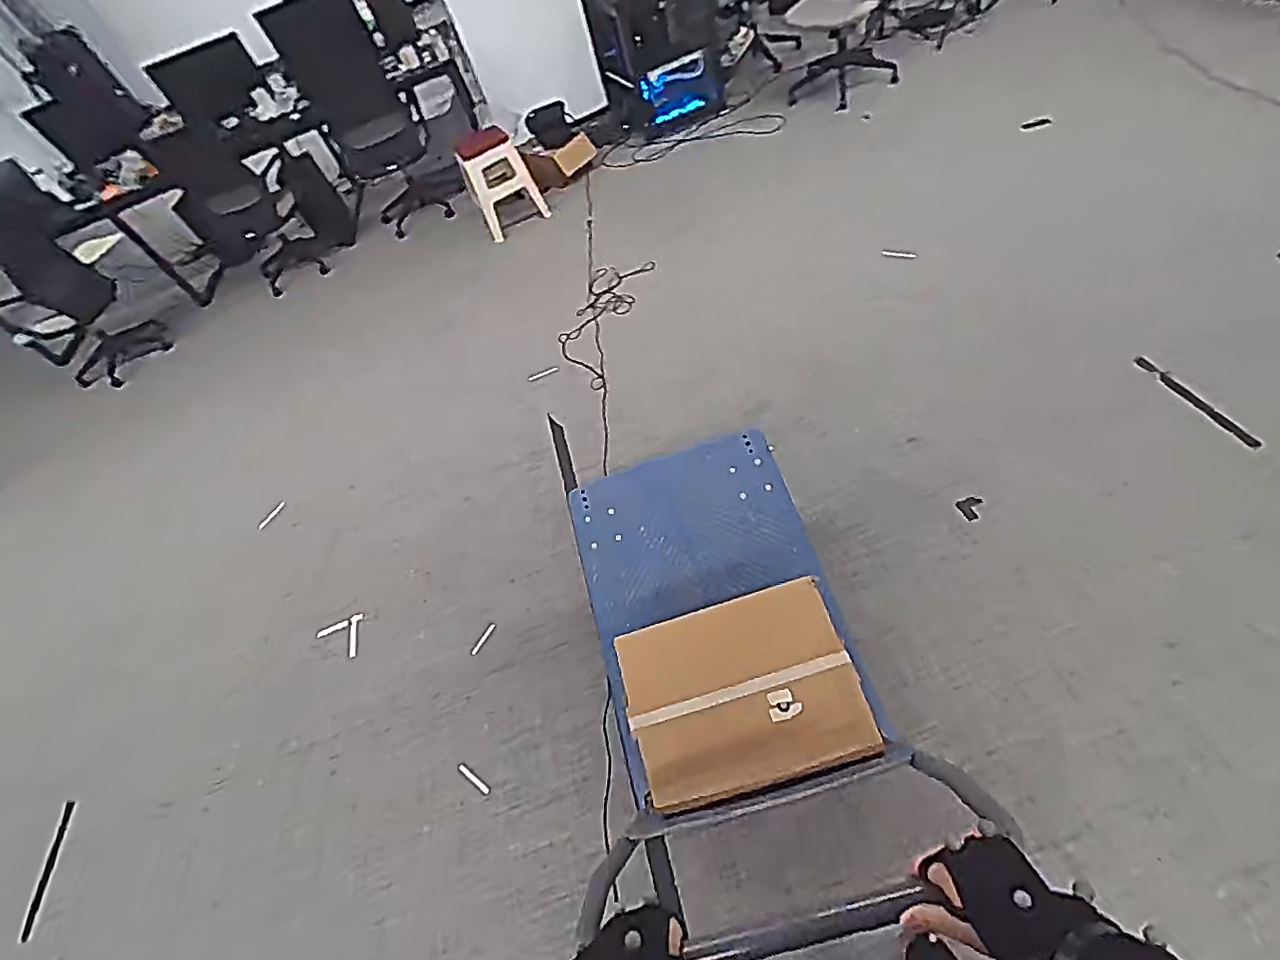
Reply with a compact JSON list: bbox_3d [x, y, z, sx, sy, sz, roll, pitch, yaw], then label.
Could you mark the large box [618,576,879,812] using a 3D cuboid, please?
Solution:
[{"bbox_3d":[0.209,0.442,1.125,0.408,0.320,0.320,-19,65,3],"label":"large box"}]
